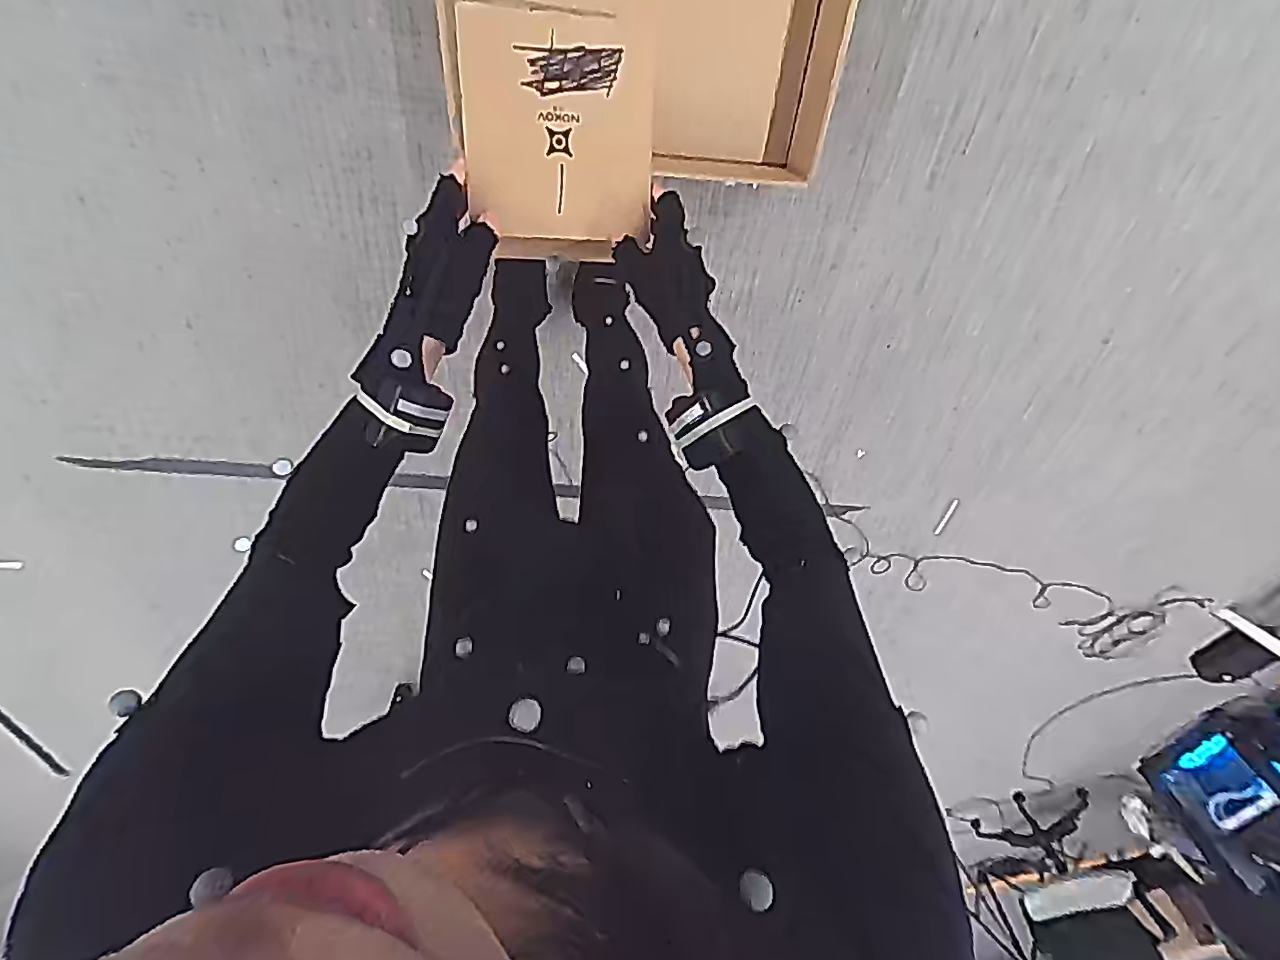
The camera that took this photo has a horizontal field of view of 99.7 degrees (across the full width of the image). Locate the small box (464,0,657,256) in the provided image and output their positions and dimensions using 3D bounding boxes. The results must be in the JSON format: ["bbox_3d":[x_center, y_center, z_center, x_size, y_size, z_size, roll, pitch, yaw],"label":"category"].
[{"bbox_3d":[-0.081,-0.337,0.551,0.168,0.176,0.179,-2,106,-10],"label":"small box"}]
